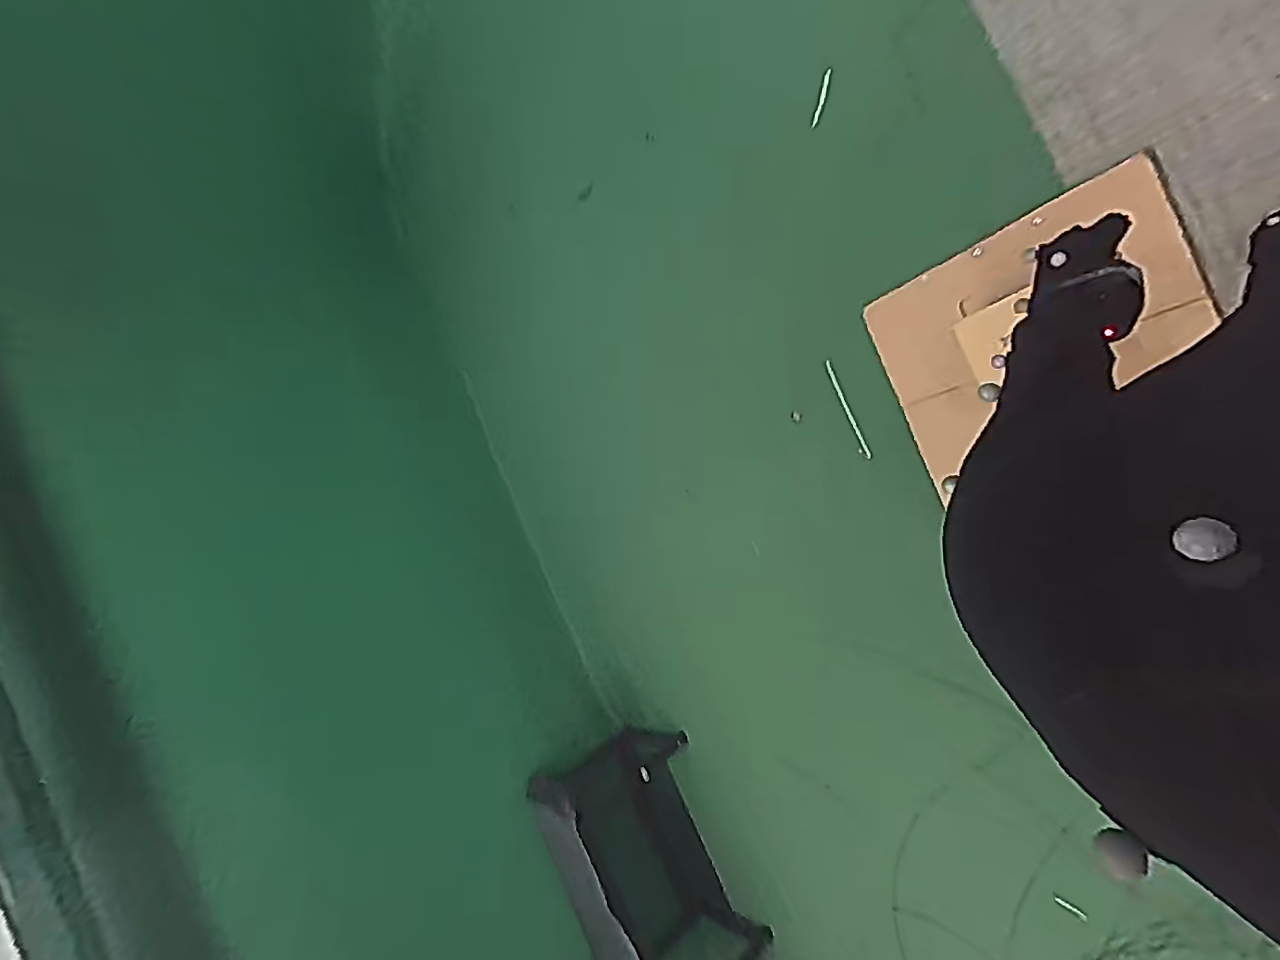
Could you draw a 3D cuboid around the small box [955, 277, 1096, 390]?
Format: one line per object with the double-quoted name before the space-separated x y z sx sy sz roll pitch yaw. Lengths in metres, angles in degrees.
"small box" 0.827 -0.314 1.161 0.179 0.176 0.168 -27 87 53
